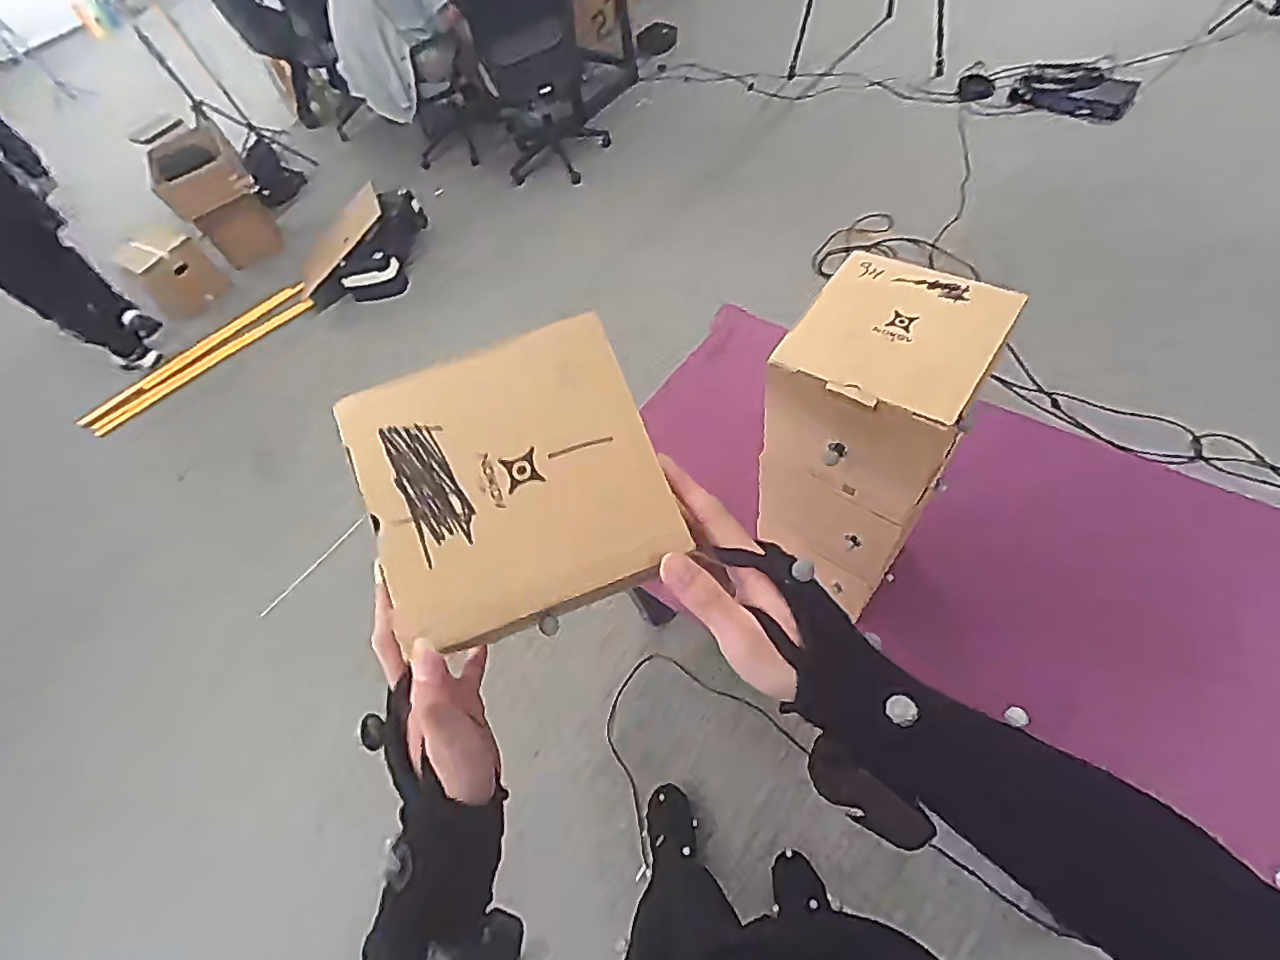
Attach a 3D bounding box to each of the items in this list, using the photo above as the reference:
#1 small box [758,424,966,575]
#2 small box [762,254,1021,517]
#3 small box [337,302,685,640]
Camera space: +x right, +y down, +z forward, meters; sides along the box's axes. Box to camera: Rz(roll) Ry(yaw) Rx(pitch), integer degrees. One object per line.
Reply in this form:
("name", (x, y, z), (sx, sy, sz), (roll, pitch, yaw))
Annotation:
("small box", (0.269, -0.001, 0.691), (0.179, 0.176, 0.168), (31, 69, 28))
("small box", (0.243, -0.092, 0.558), (0.168, 0.176, 0.179), (30, 69, 27))
("small box", (-0.078, 0.007, 0.397), (0.179, 0.176, 0.168), (-20, 78, -4))
